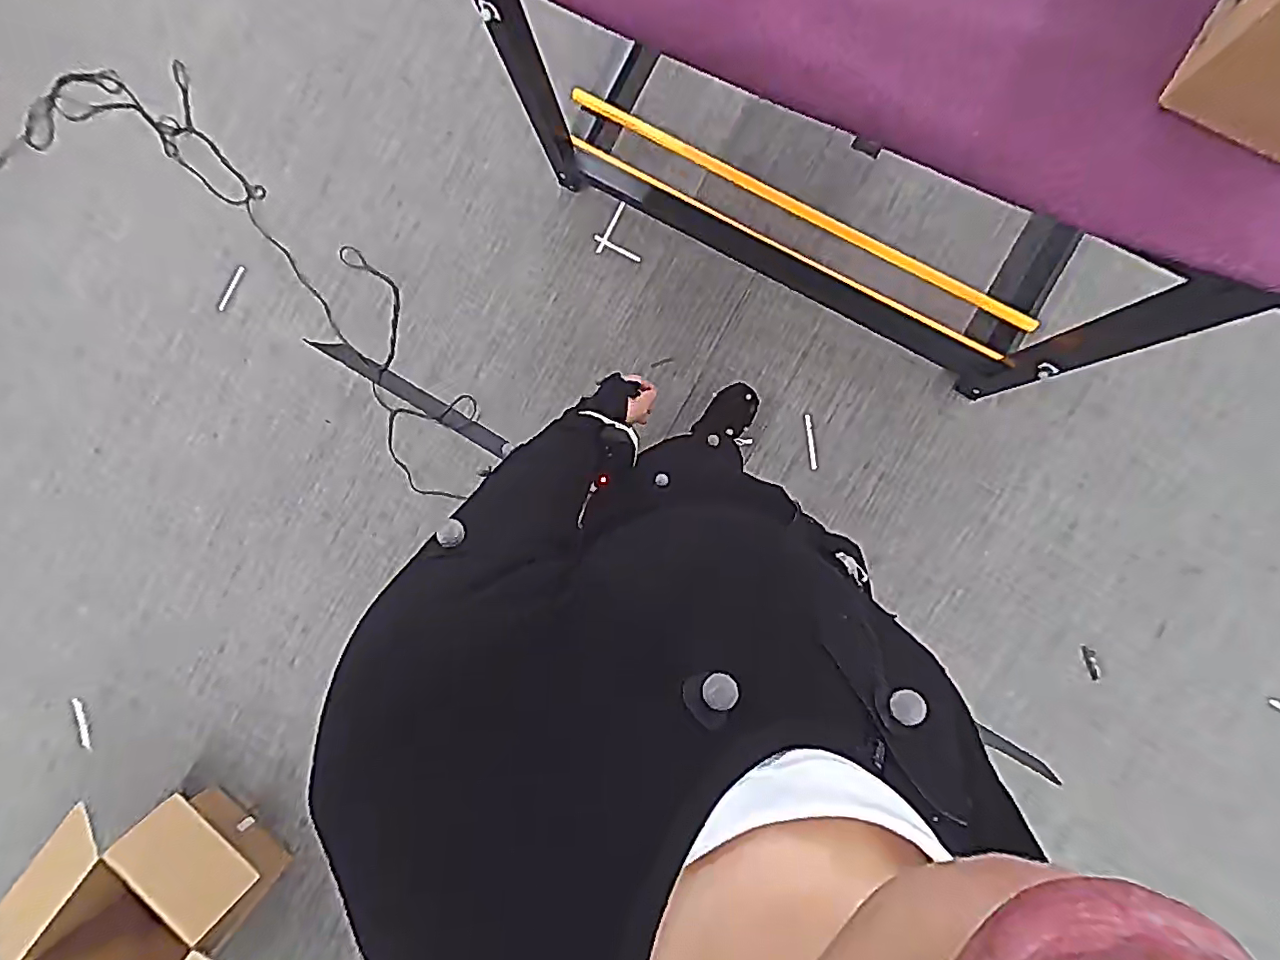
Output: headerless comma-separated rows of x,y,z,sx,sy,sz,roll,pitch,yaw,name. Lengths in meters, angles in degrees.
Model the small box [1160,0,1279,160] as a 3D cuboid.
0.677,-0.446,0.510,0.179,0.176,0.168,31,91,5,small box
